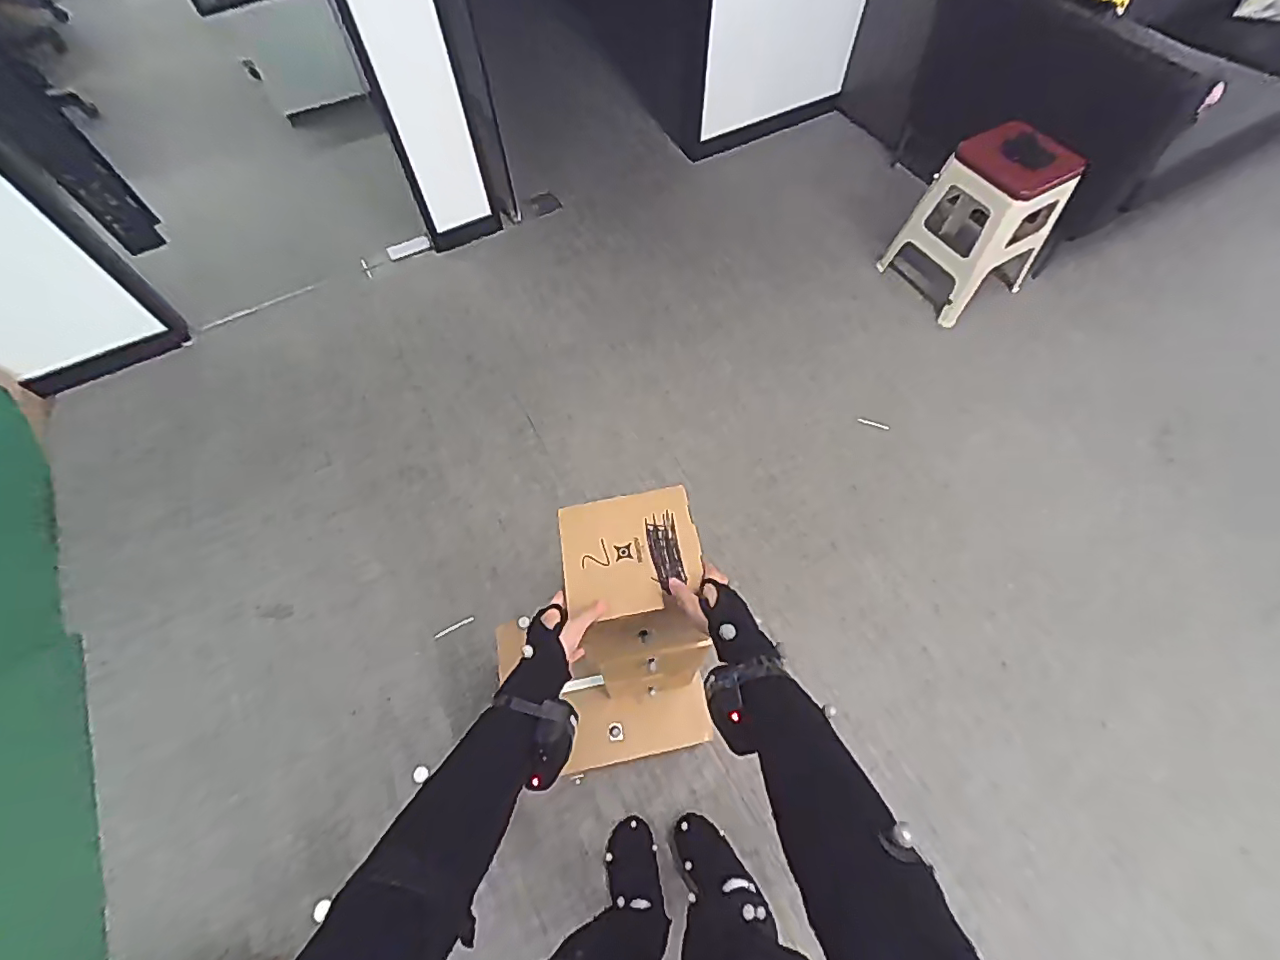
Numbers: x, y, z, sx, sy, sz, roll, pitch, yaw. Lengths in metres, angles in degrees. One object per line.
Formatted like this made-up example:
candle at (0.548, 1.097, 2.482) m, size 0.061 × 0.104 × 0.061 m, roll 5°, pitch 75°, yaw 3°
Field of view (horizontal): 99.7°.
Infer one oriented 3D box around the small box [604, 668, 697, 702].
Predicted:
small box at (0.006, 0.315, 1.048) m, size 0.168 × 0.176 × 0.179 m, roll -9°, pitch 60°, yaw -4°

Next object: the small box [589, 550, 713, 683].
small box at (0.014, 0.232, 0.908) m, size 0.179 × 0.176 × 0.168 m, roll -8°, pitch 60°, yaw -3°
